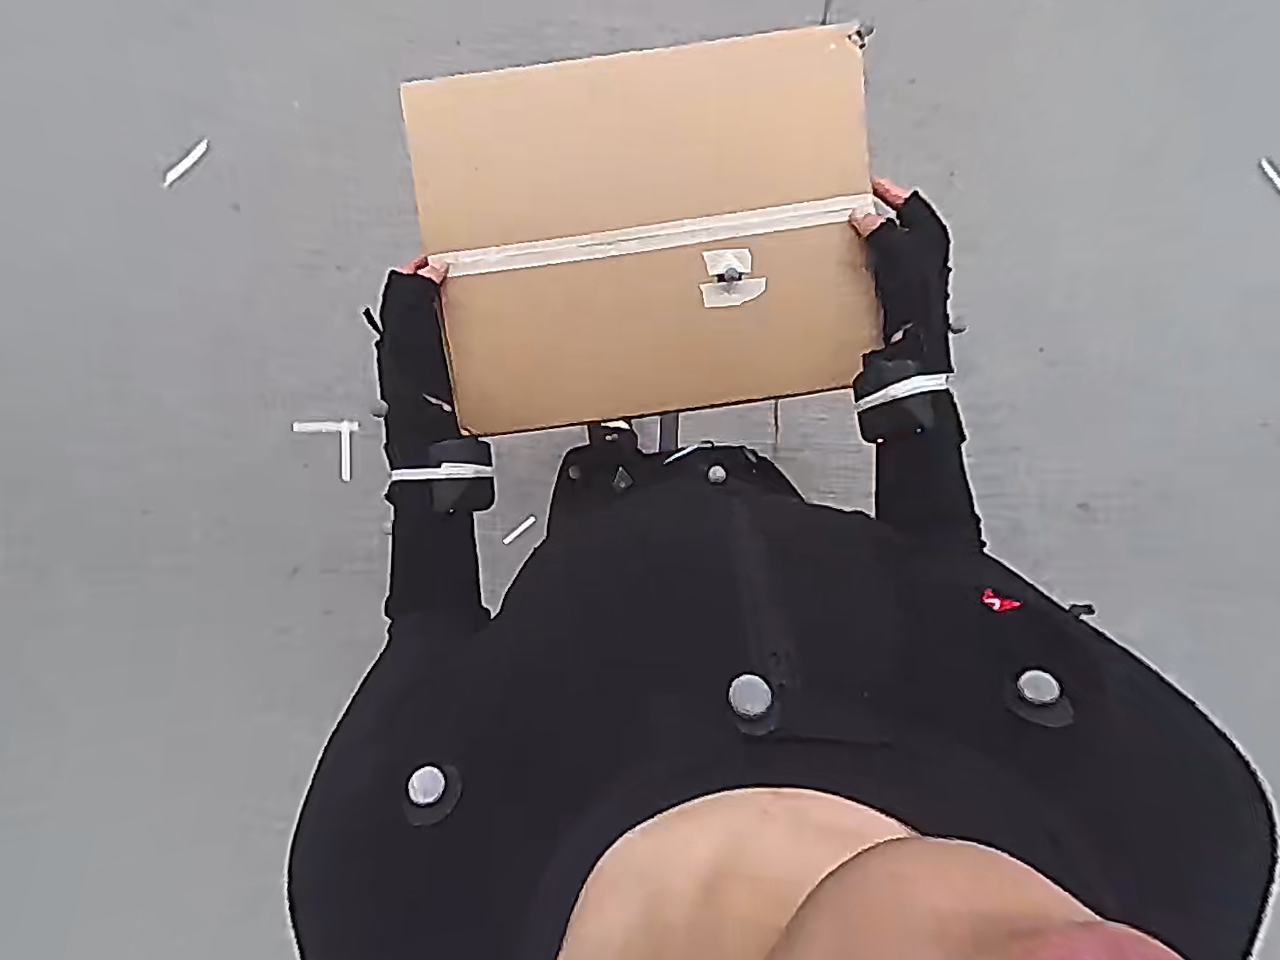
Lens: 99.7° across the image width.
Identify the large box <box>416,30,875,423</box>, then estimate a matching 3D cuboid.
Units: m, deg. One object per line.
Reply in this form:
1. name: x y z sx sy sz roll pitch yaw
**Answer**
1. large box: 0.007 -0.248 0.650 0.408 0.320 0.320 -7 97 -1
